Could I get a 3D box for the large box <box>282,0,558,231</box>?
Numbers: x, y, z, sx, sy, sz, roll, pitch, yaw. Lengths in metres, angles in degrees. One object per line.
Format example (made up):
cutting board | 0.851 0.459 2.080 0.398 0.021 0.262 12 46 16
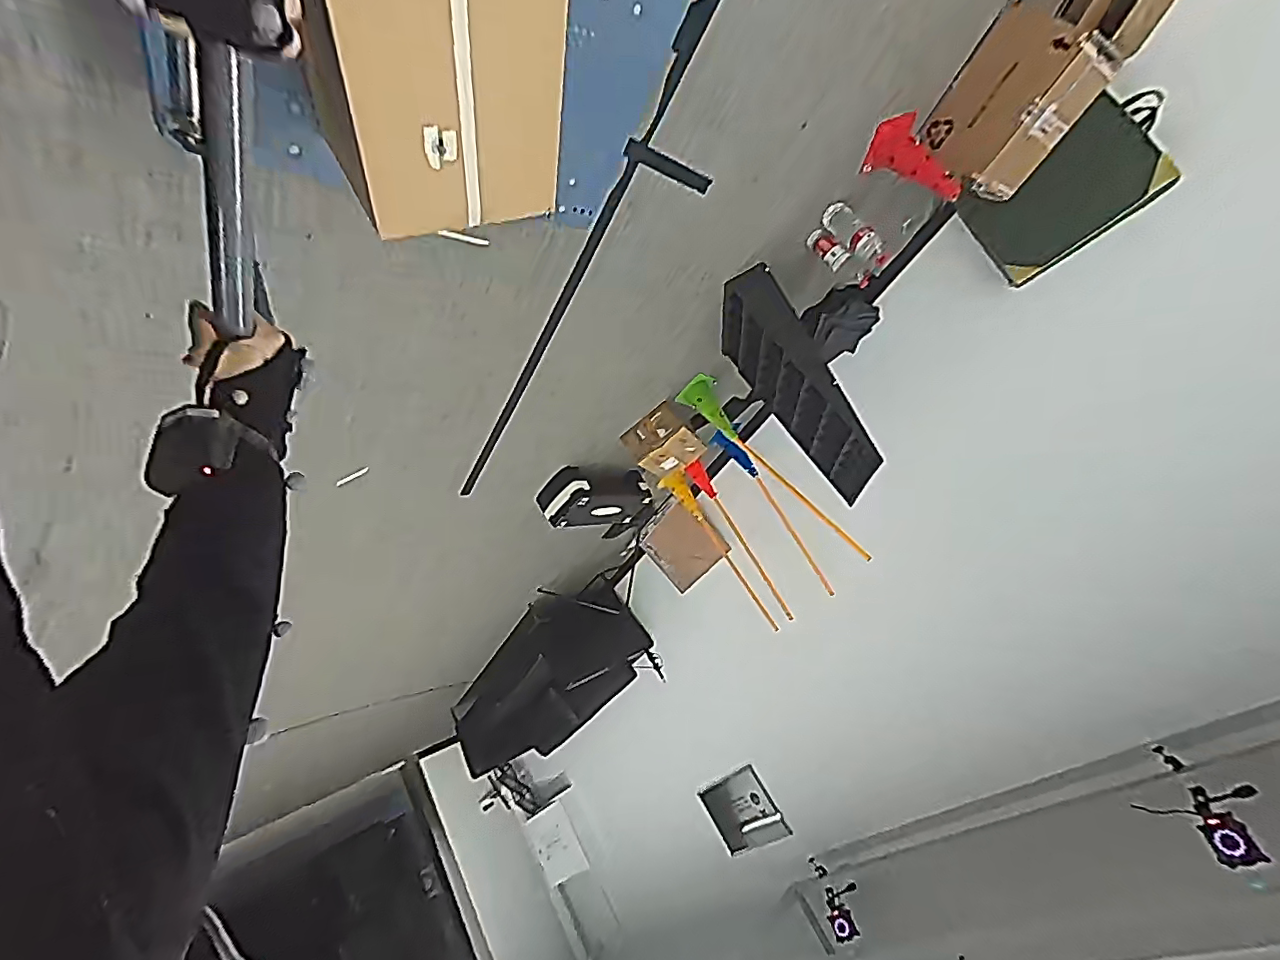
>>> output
large box | -0.336 -0.670 0.819 0.320 0.320 0.408 -22 155 -25
